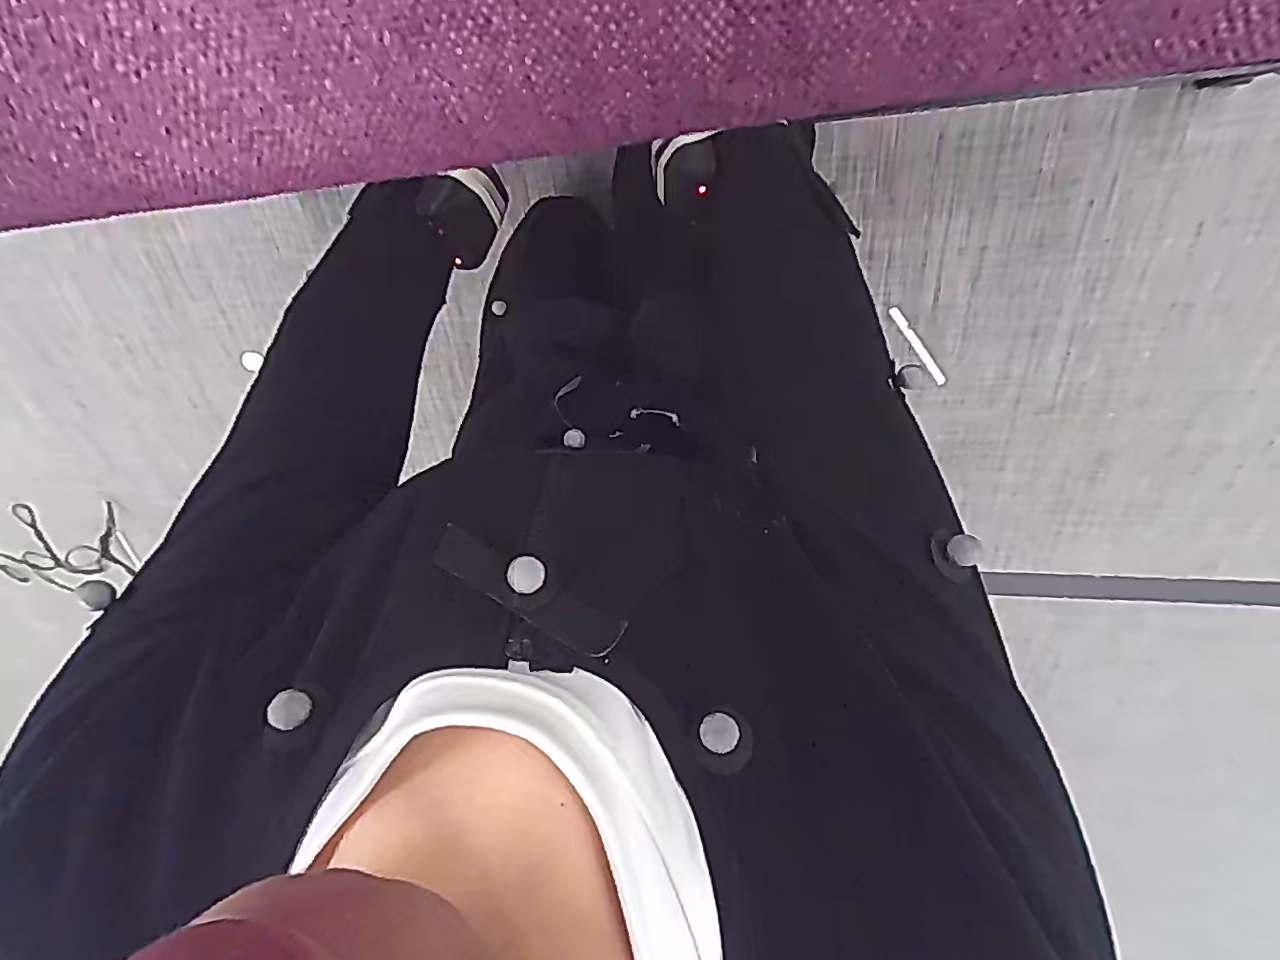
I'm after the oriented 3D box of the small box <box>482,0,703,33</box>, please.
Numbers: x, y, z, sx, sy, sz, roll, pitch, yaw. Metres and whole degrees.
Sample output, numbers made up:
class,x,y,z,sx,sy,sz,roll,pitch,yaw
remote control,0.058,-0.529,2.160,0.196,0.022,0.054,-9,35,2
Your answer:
class,x,y,z,sx,sy,sz,roll,pitch,yaw
small box,-0.033,-0.464,0.418,0.179,0.176,0.168,-3,128,8

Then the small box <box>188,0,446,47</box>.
class,x,y,z,sx,sy,sz,roll,pitch,yaw
small box,-0.292,-0.505,0.474,0.179,0.176,0.168,-2,120,9
